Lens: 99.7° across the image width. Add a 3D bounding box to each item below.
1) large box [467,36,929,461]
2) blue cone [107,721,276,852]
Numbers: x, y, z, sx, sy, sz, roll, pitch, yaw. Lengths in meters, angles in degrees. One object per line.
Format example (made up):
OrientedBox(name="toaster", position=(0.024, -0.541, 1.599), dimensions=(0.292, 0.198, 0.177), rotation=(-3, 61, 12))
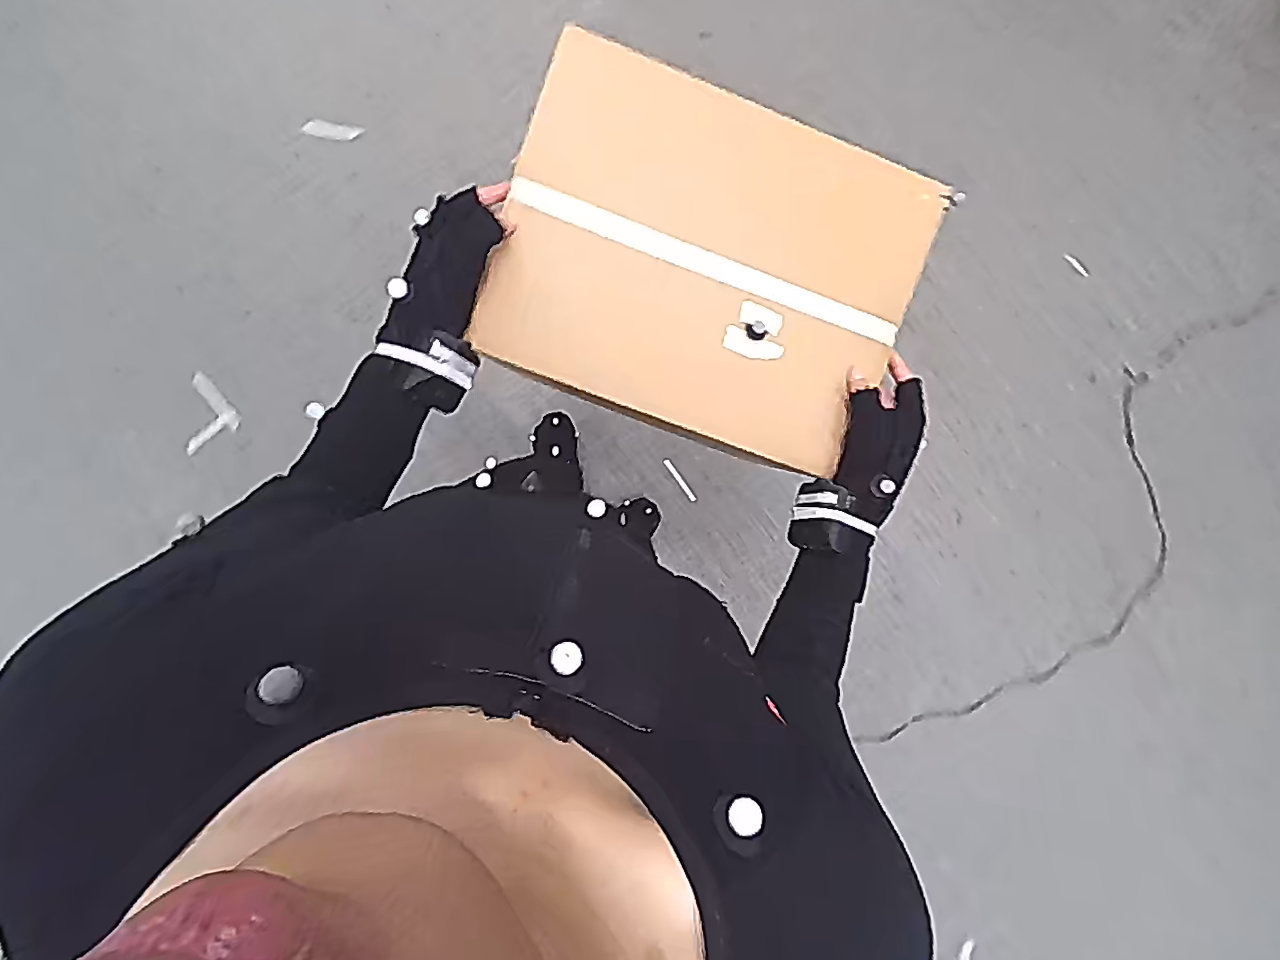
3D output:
OrientedBox(name="large box", position=(0.050, -0.236, 0.689), dimensions=(0.408, 0.320, 0.320), rotation=(19, 95, -5))
OrientedBox(name="blue cone", position=(-1.136, 0.790, 1.365), dimensions=(0.192, 0.380, 0.193), rotation=(-15, 91, 1))
